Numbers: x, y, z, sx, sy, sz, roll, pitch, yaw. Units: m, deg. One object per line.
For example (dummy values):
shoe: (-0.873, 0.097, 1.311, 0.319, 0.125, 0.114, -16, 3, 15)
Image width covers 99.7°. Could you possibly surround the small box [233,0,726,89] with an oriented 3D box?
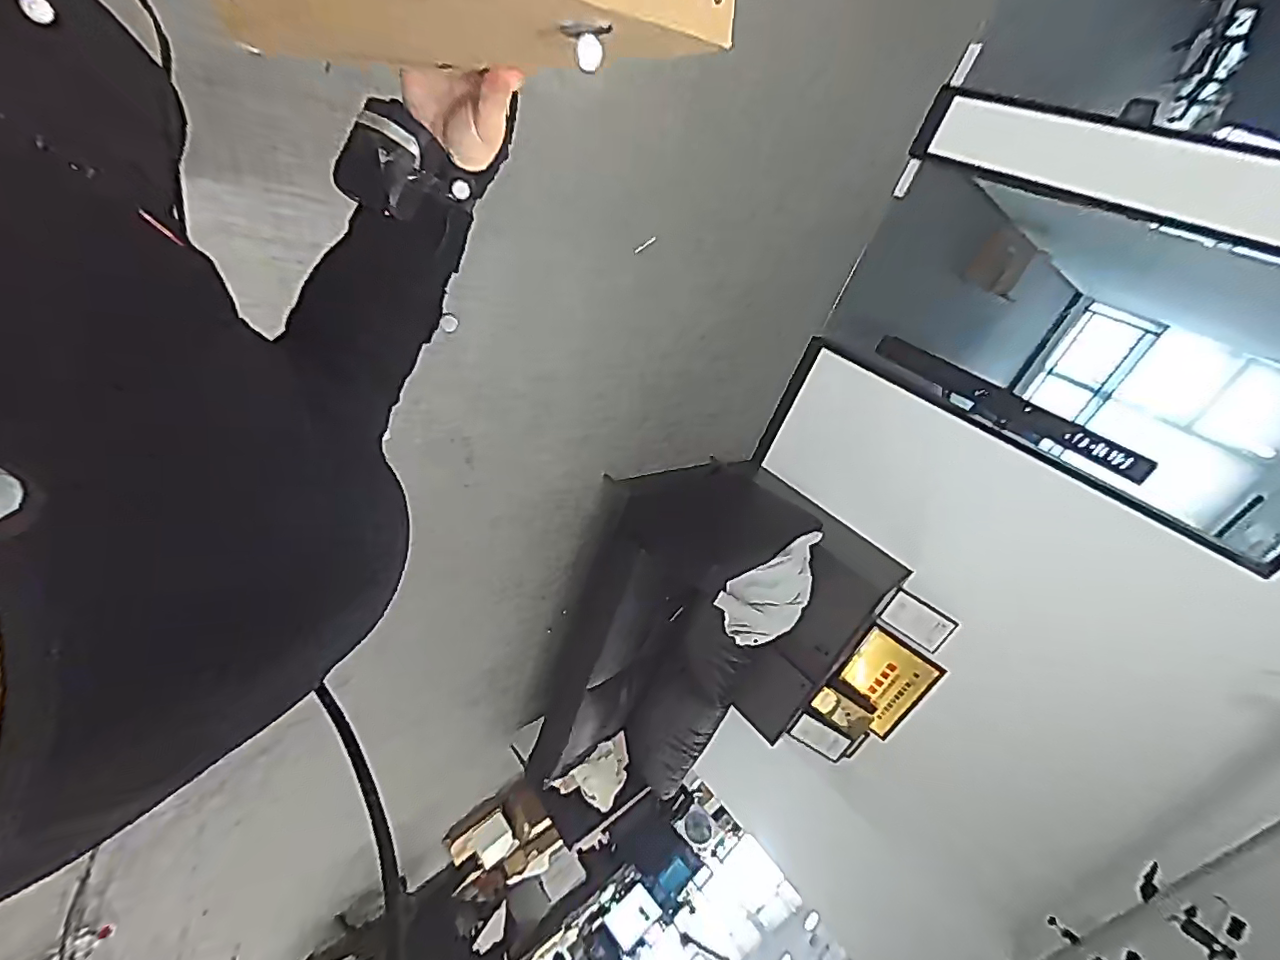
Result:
small box: (-0.071, -0.280, 0.221, 0.168, 0.176, 0.179, -43, 140, -47)
